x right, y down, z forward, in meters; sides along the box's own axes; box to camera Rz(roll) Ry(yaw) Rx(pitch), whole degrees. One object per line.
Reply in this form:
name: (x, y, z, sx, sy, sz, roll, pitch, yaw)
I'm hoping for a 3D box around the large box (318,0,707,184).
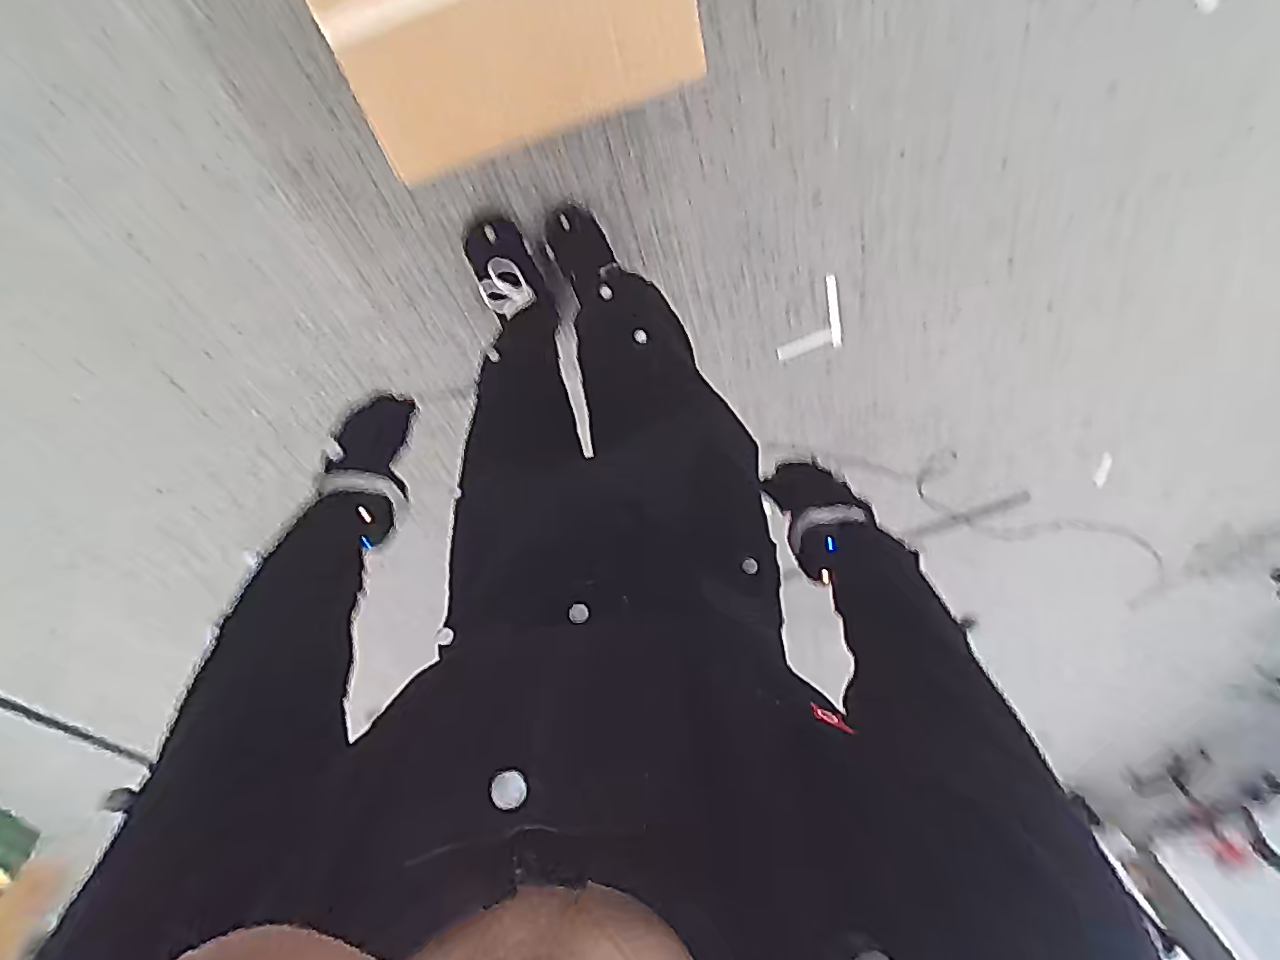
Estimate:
large box: (-0.171, -0.639, 0.693, 0.408, 0.320, 0.320, -19, 132, 2)
